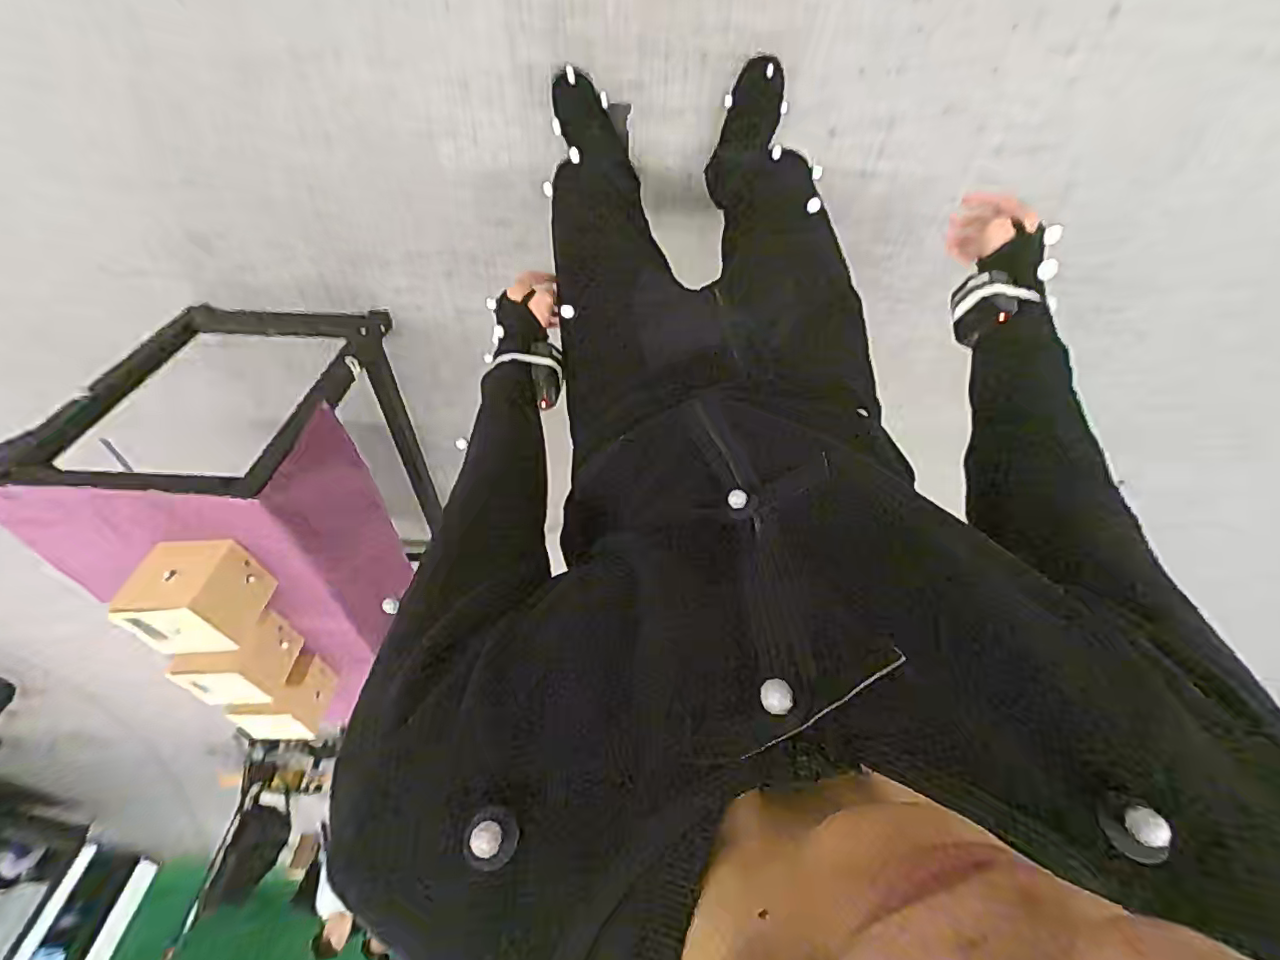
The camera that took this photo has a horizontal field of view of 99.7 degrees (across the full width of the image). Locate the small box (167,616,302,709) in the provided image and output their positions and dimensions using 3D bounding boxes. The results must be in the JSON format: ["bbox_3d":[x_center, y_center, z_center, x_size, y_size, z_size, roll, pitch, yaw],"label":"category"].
[{"bbox_3d":[-0.989,0.449,1.338,0.179,0.176,0.168,-2,135,3],"label":"small box"}]

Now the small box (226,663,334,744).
[{"bbox_3d":[-0.988,0.620,1.510,0.179,0.176,0.168,1,135,1],"label":"small box"}]
